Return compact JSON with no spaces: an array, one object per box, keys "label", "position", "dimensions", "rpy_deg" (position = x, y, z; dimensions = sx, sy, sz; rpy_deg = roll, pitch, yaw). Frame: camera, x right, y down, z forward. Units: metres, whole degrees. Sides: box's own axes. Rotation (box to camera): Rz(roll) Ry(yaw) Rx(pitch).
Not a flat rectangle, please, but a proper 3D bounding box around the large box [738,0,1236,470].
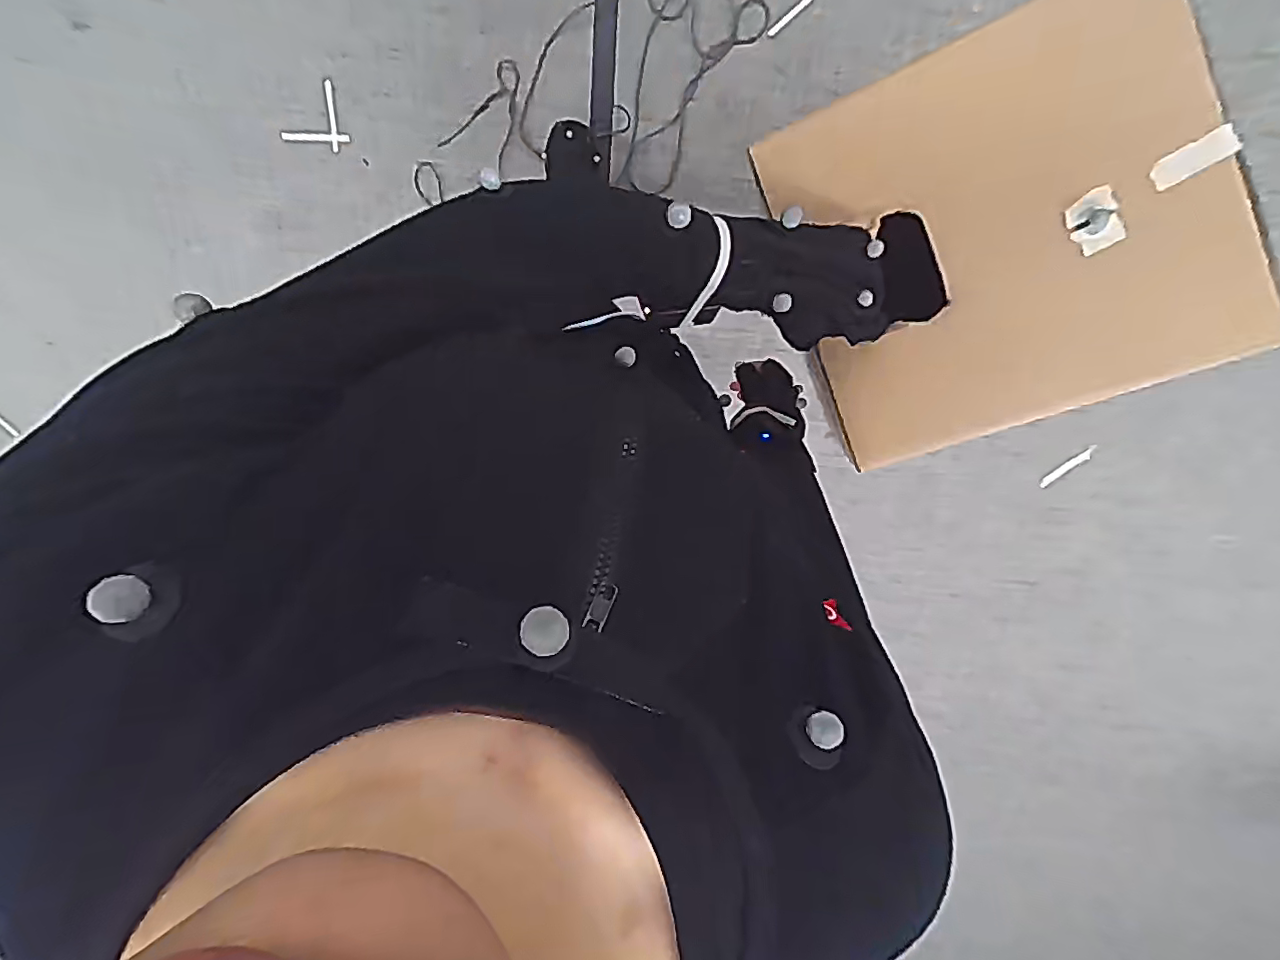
[{"label":"large box","position":[0.333,-0.218,0.637],"dimensions":[0.320,0.408,0.320],"rpy_deg":[-17,91,19]}]
